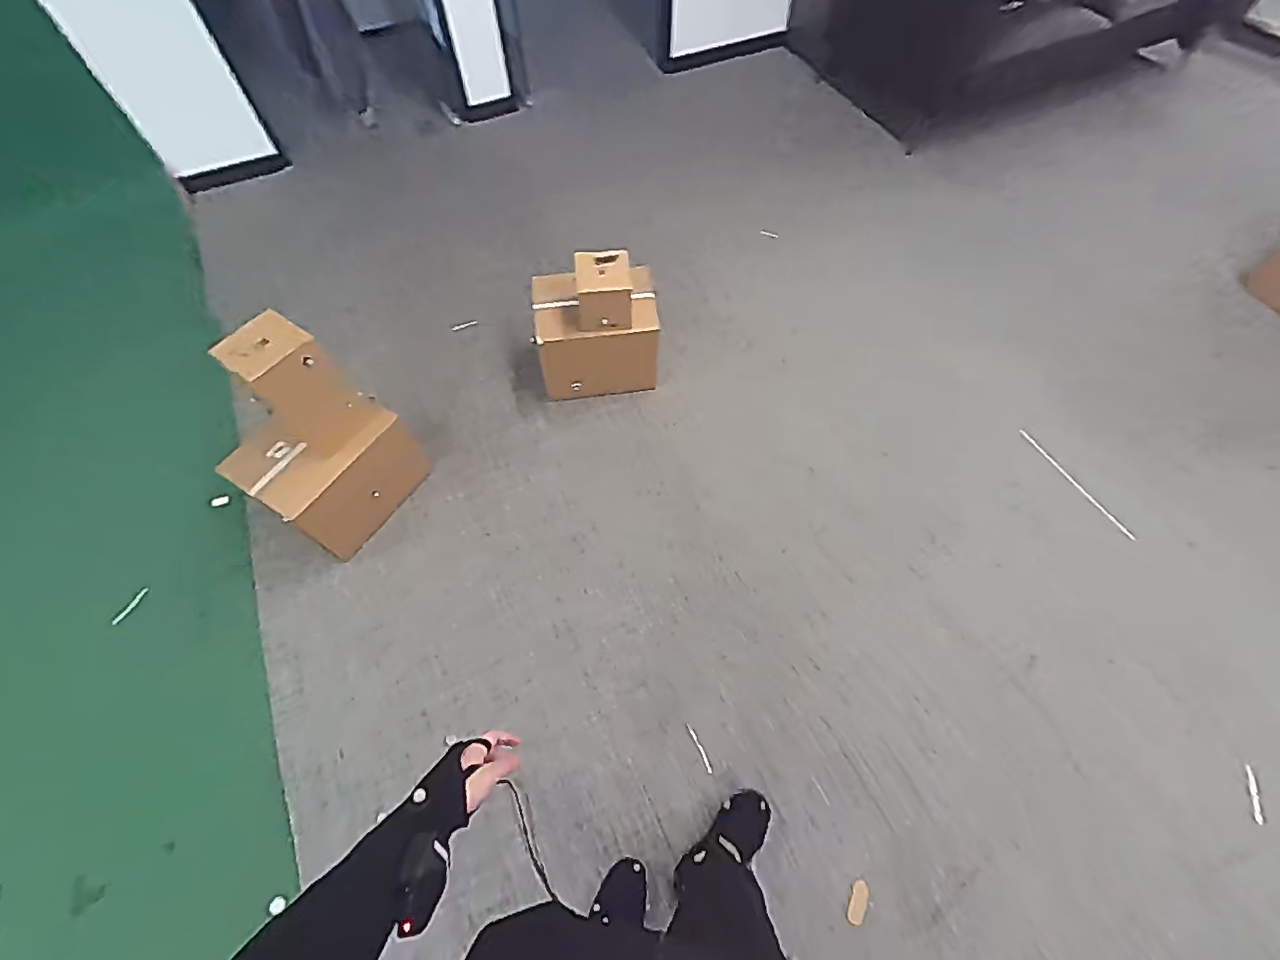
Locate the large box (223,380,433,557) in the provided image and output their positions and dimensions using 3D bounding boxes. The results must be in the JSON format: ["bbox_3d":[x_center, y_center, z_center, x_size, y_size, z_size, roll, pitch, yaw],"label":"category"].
[{"bbox_3d":[-0.928,-0.043,1.669,0.320,0.320,0.408,27,65,16],"label":"large box"}]

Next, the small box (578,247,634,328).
[{"bbox_3d":[-0.107,-0.602,1.700,0.168,0.176,0.179,-5,63,-3],"label":"small box"}]

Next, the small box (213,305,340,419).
[{"bbox_3d":[-0.879,-0.288,1.335,0.168,0.176,0.179,32,66,17],"label":"small box"}]
